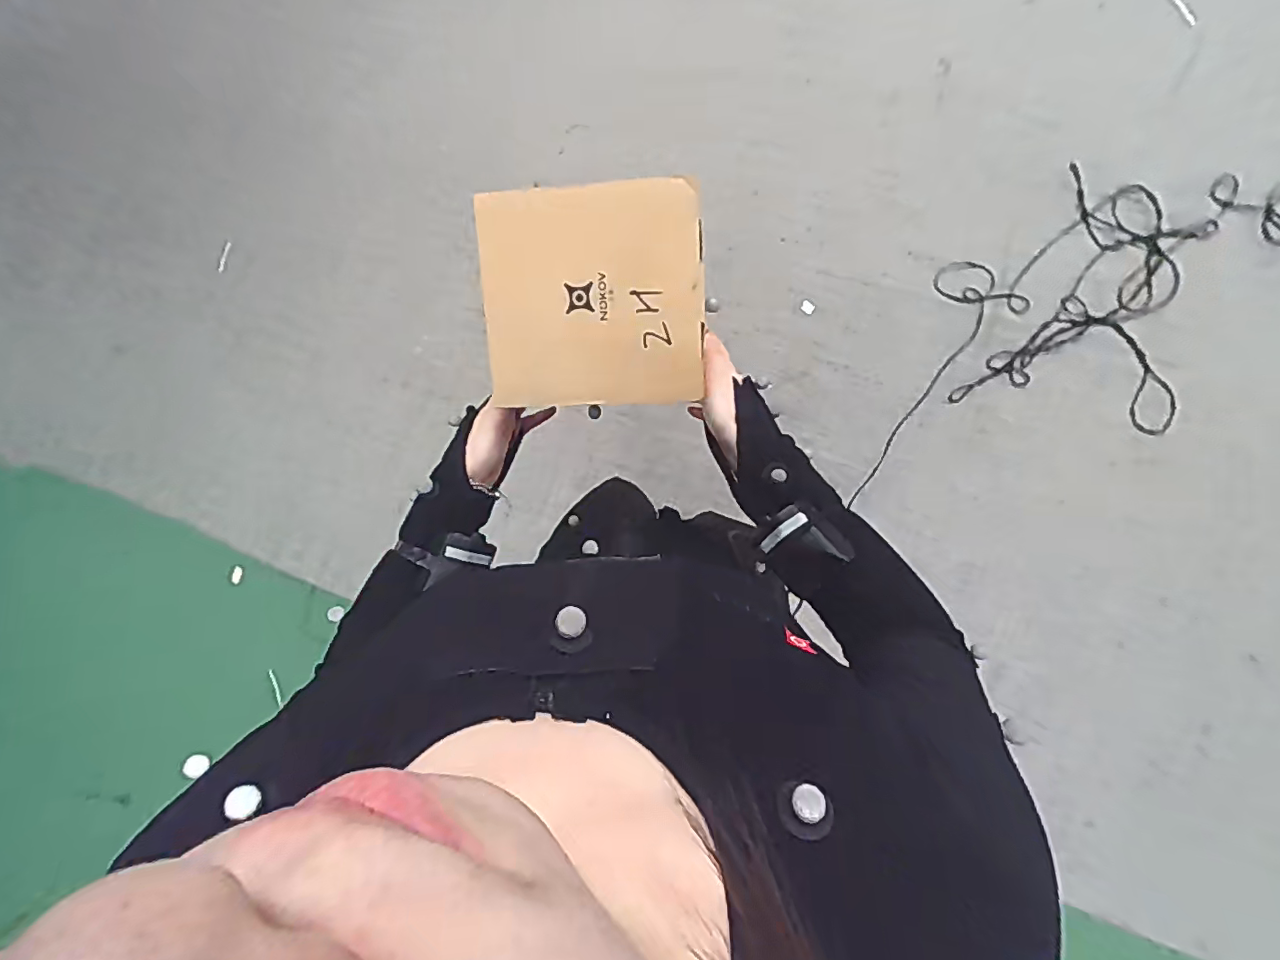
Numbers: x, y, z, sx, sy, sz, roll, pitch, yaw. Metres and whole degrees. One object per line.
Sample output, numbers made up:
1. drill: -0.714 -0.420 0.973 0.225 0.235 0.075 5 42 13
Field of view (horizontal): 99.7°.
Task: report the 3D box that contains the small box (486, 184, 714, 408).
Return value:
1. small box: -0.022 -0.157 0.498 0.179 0.176 0.168 0 104 6
